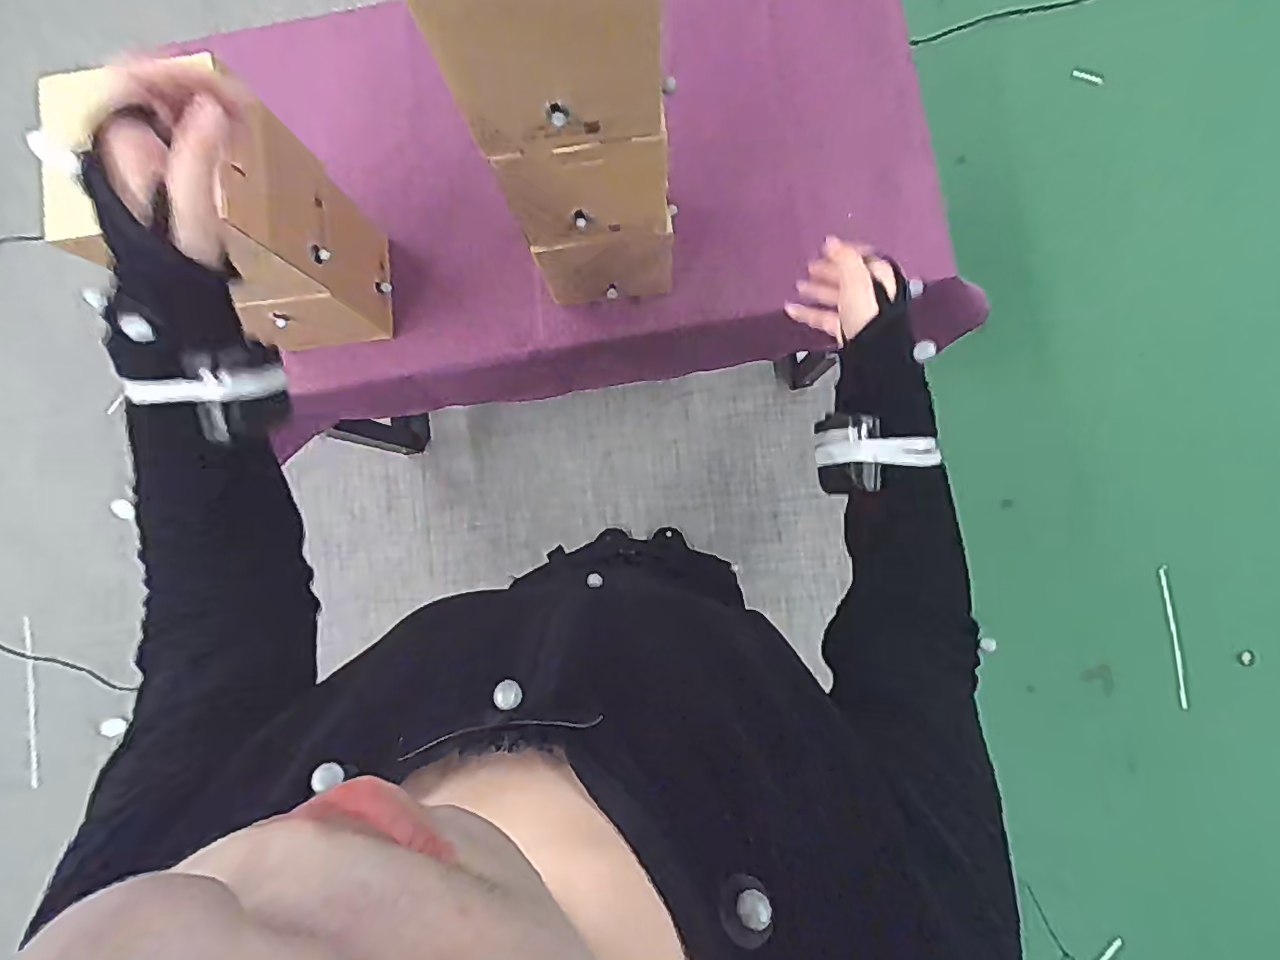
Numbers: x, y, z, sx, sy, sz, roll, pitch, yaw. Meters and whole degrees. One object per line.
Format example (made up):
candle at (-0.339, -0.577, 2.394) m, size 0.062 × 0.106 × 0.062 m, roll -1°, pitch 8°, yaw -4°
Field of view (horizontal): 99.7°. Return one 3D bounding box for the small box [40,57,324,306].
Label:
small box at (-0.472, -0.305, 0.587) m, size 0.179 × 0.176 × 0.168 m, roll -7°, pitch 86°, yaw 2°

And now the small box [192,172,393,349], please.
small box at (-0.471, -0.291, 0.751) m, size 0.179 × 0.176 × 0.168 m, roll -6°, pitch 87°, yaw 1°

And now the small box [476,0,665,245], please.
small box at (-0.065, -0.382, 0.579) m, size 0.168 × 0.176 × 0.179 m, roll -7°, pitch 87°, yaw 2°

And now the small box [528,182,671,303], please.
small box at (-0.056, -0.360, 0.741) m, size 0.179 × 0.176 × 0.168 m, roll -7°, pitch 85°, yaw 1°
